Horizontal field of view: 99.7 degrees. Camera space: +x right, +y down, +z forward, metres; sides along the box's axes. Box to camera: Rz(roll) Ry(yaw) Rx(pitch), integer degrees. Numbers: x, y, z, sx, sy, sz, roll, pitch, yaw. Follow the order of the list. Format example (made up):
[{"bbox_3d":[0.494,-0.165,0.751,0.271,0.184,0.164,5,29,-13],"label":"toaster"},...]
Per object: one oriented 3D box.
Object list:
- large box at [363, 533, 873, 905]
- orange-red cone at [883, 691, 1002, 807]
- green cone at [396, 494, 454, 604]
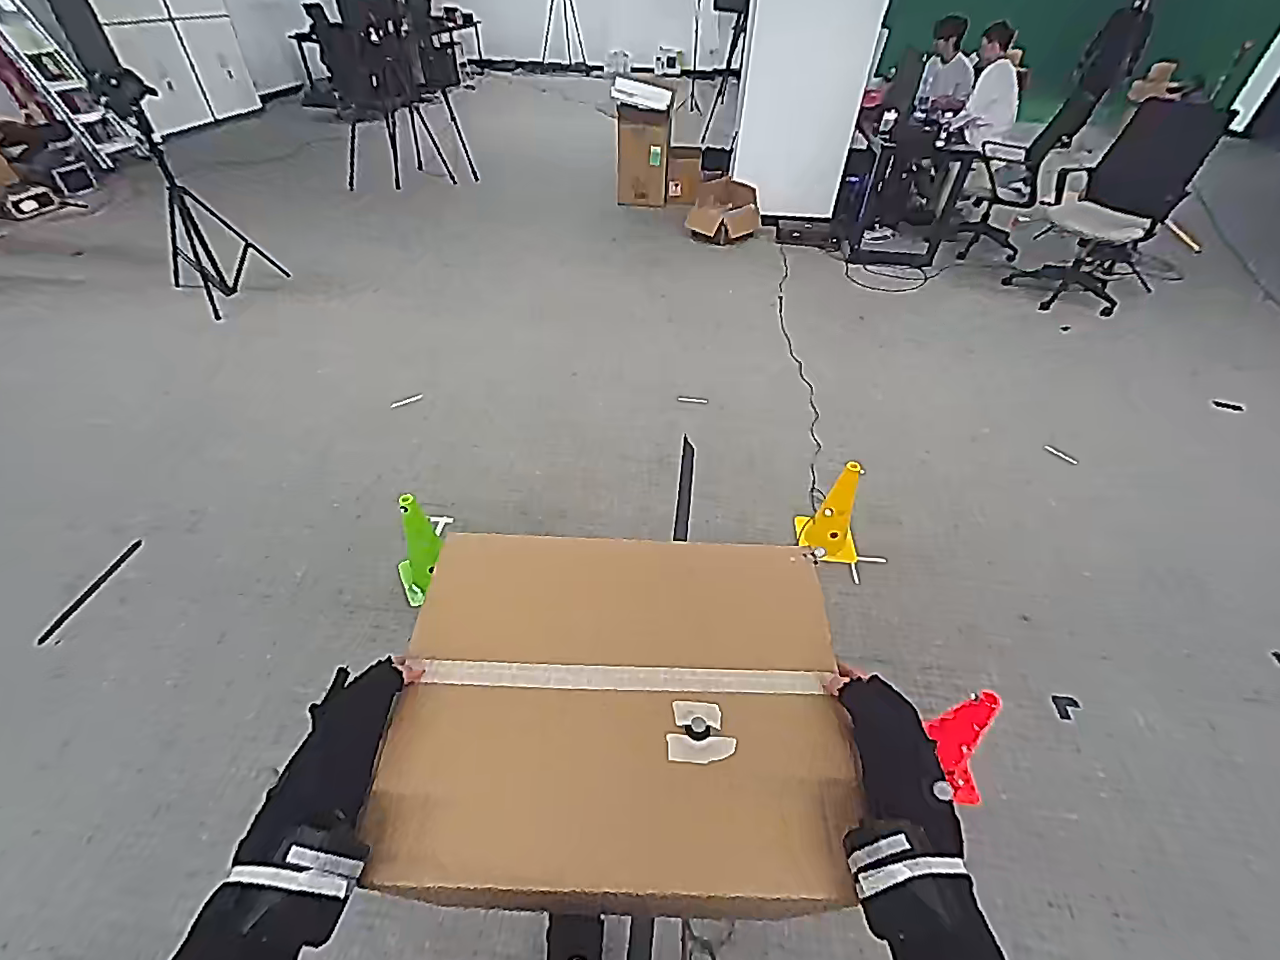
[{"bbox_3d":[-0.020,0.280,0.622,0.408,0.320,0.320,3,49,-1],"label":"large box"},{"bbox_3d":[0.751,0.599,1.282,0.198,0.360,0.199,5,42,1],"label":"orange-red cone"},{"bbox_3d":[-0.675,0.178,1.672,0.202,0.368,0.200,-22,48,-22],"label":"green cone"}]
